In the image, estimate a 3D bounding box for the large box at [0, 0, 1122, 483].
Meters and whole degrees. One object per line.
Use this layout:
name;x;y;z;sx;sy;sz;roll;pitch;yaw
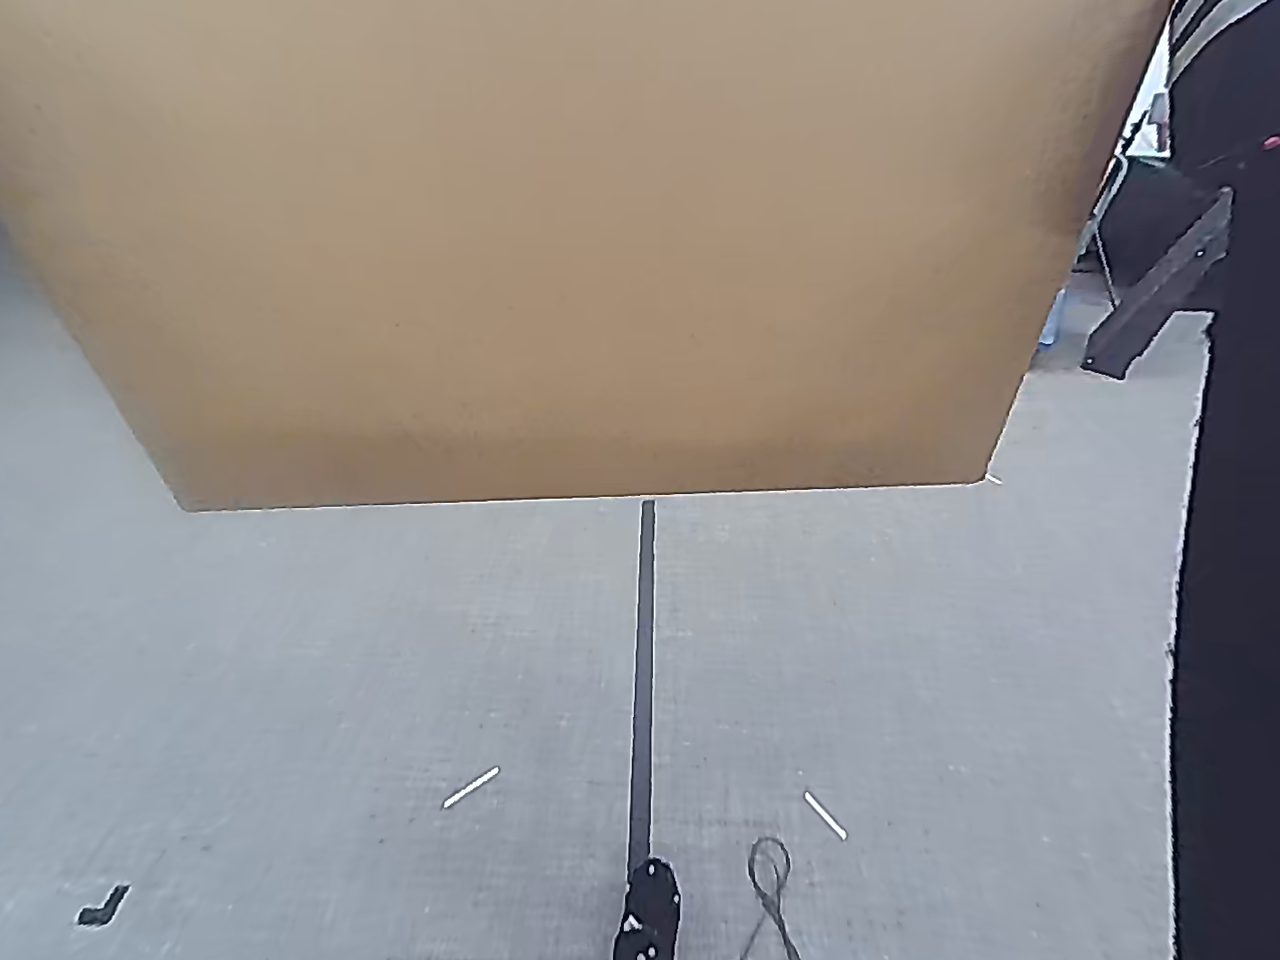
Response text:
large box;-0.033;-0.209;0.328;0.408;0.320;0.320;-1;35;-1
